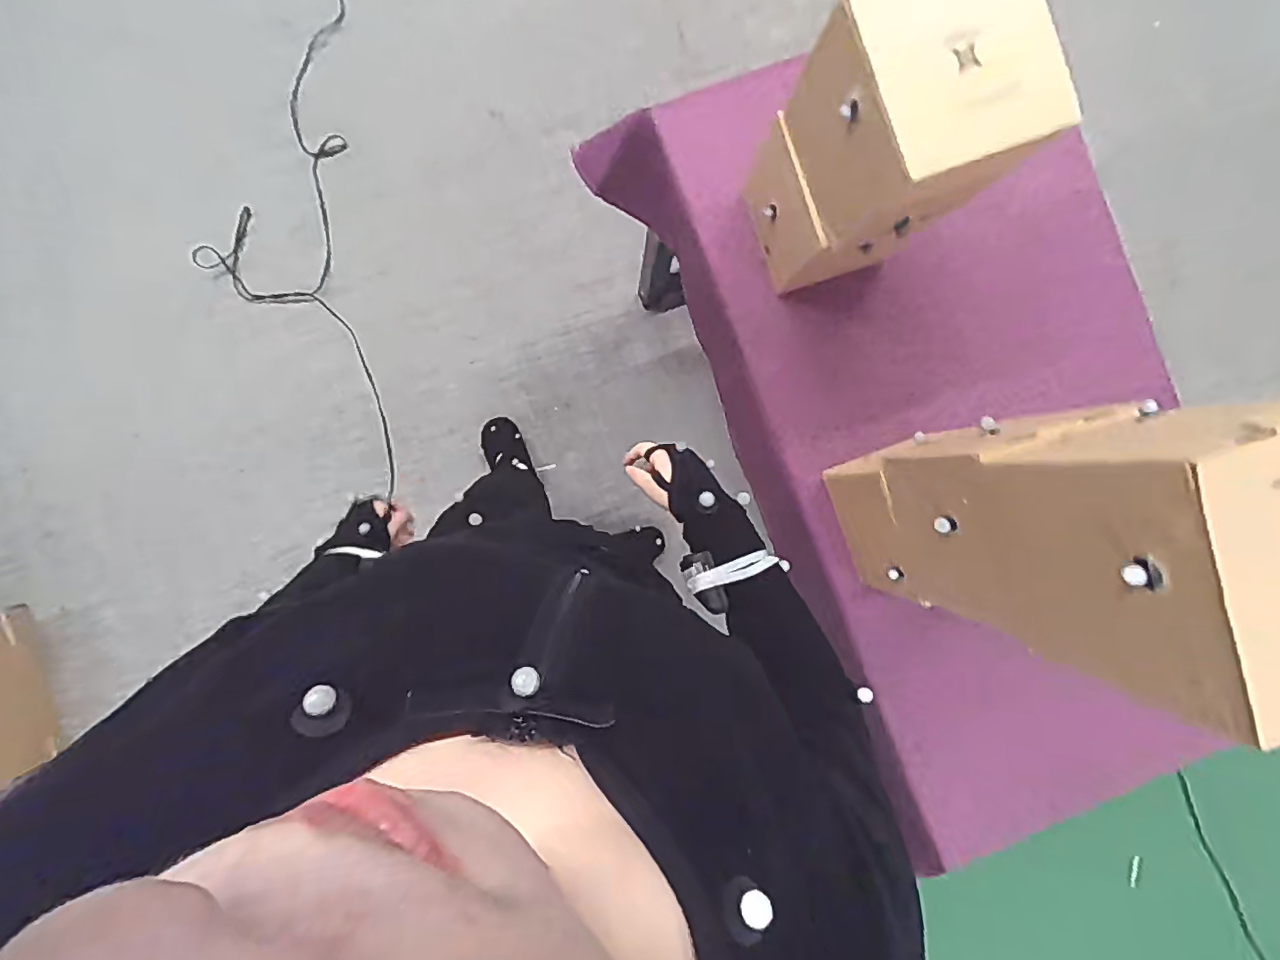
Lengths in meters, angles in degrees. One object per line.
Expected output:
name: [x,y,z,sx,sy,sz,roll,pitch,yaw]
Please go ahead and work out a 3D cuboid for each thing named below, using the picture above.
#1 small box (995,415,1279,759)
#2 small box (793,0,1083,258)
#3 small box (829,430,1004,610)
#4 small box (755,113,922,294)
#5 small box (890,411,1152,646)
small box: [0.399,0.055,0.390,0.168,0.176,0.179,-16,93,-4]
small box: [0.275,-0.357,0.541,0.168,0.176,0.179,-20,92,-2]
small box: [0.379,0.047,0.718,0.168,0.176,0.179,-20,92,-3]
small box: [0.262,-0.364,0.704,0.179,0.176,0.168,-18,92,-3]
small box: [0.387,0.043,0.554,0.168,0.176,0.179,-16,91,-3]
